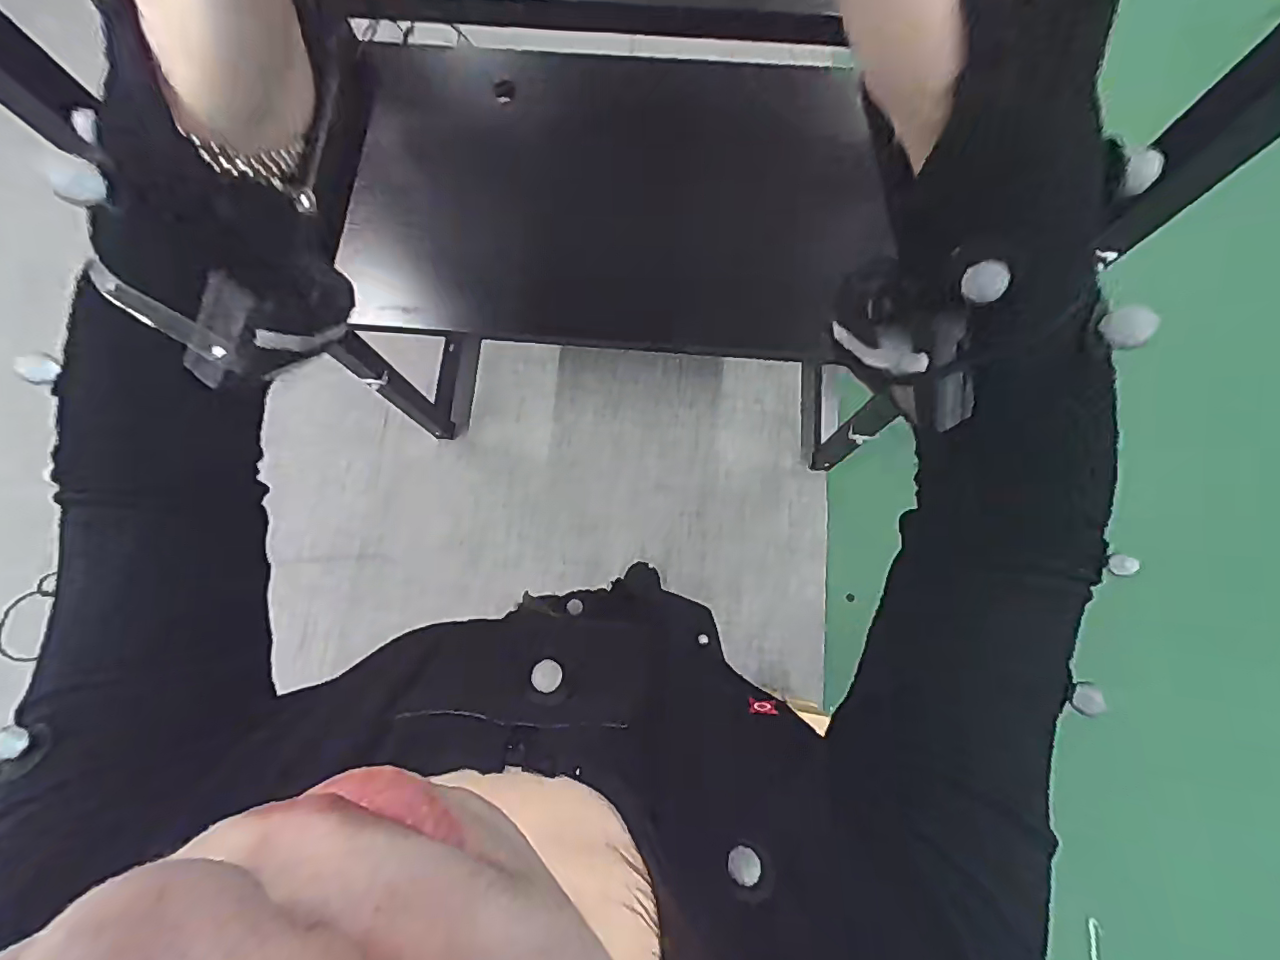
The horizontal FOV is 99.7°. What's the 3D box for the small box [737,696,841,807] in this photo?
[{"bbox_3d":[0.318,0.582,1.185,0.179,0.176,0.168,11,77,4],"label":"small box"}]
